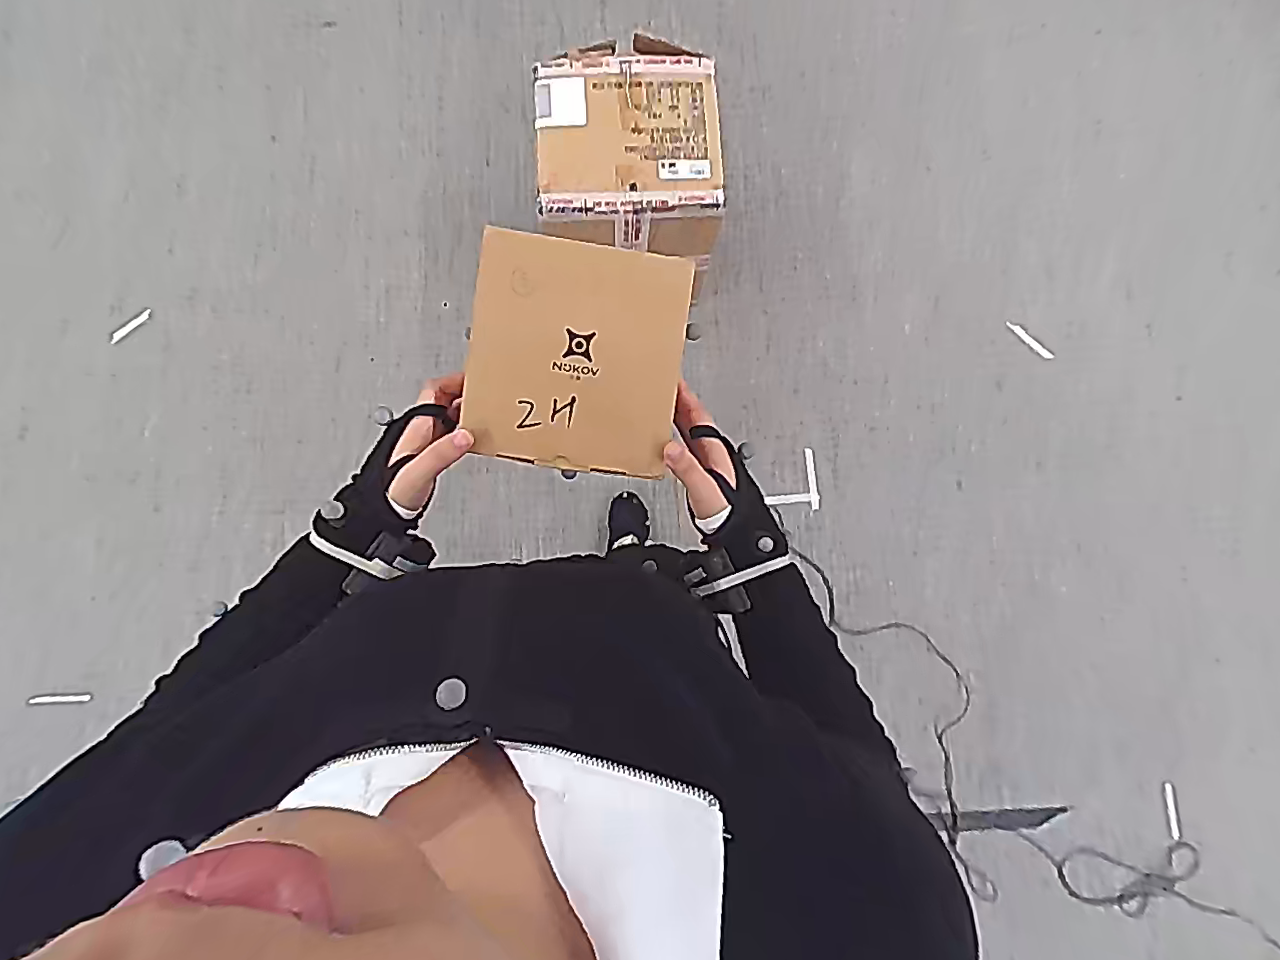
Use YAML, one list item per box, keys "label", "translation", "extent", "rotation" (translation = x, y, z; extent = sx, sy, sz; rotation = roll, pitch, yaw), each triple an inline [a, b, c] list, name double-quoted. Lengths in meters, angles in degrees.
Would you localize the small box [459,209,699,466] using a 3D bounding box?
- label: "small box"
  translation: [-0.052, -0.112, 0.497]
  extent: [0.168, 0.176, 0.179]
  rotation: [8, 93, -4]
